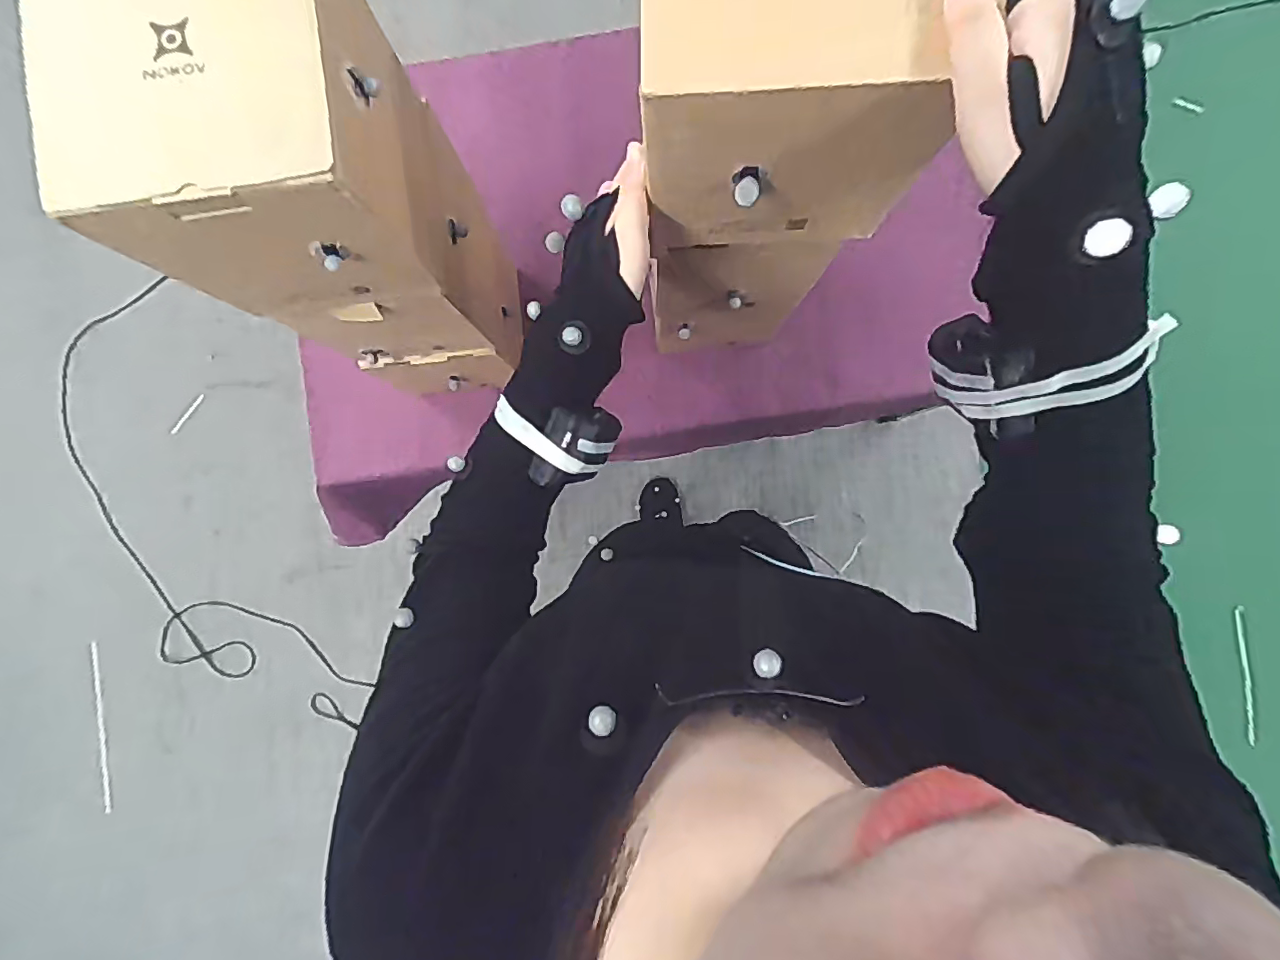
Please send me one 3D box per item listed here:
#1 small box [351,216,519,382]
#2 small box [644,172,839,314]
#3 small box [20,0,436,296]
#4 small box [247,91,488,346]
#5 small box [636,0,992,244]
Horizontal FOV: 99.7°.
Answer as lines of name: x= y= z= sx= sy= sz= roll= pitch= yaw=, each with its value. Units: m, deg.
small box: x=-0.260 y=-0.229 z=0.707 sx=0.168 sy=0.176 sz=0.179 roll=-5 pitch=89 yaw=-1
small box: x=0.090 y=-0.283 z=0.542 sx=0.168 sy=0.176 sz=0.179 roll=-3 pitch=88 yaw=0
small box: x=-0.257 y=-0.242 z=0.379 sx=0.168 sy=0.176 sz=0.179 roll=-6 pitch=88 yaw=-1
small box: x=-0.258 y=-0.240 z=0.542 sx=0.168 sy=0.176 sz=0.179 roll=-4 pitch=88 yaw=0
small box: x=0.086 y=-0.263 z=0.334 sx=0.168 sy=0.176 sz=0.179 roll=0 pitch=89 yaw=3
